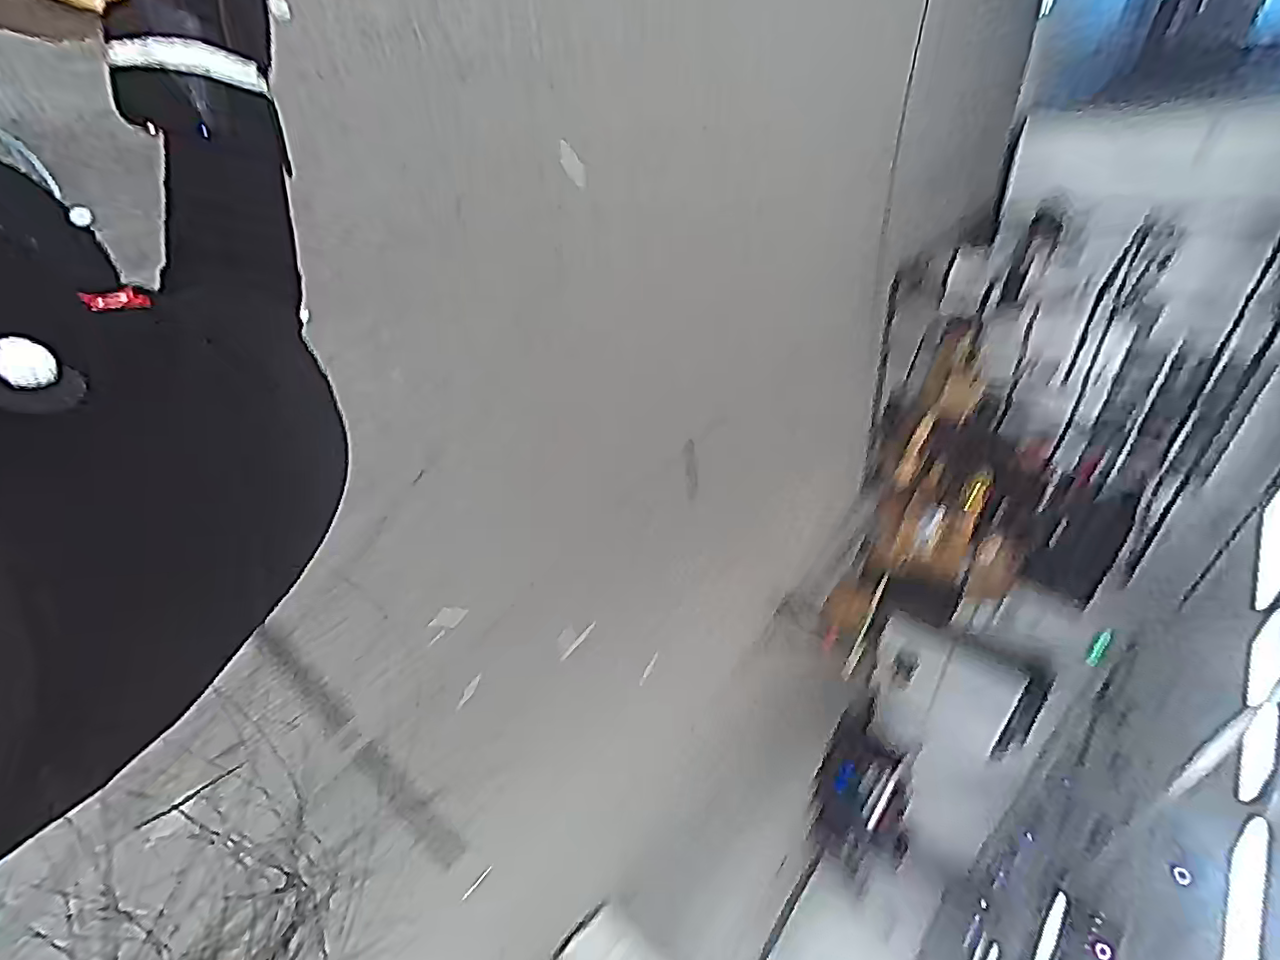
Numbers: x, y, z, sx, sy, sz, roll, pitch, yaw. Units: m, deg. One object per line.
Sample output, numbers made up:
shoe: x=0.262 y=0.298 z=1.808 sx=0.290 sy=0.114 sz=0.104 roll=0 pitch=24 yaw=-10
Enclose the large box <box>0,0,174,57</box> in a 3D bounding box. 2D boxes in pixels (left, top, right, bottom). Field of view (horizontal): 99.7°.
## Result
large box: x=-0.517 y=-0.434 z=0.223 sx=0.408 sy=0.320 sz=0.320 roll=-19 pitch=129 yaw=-51
